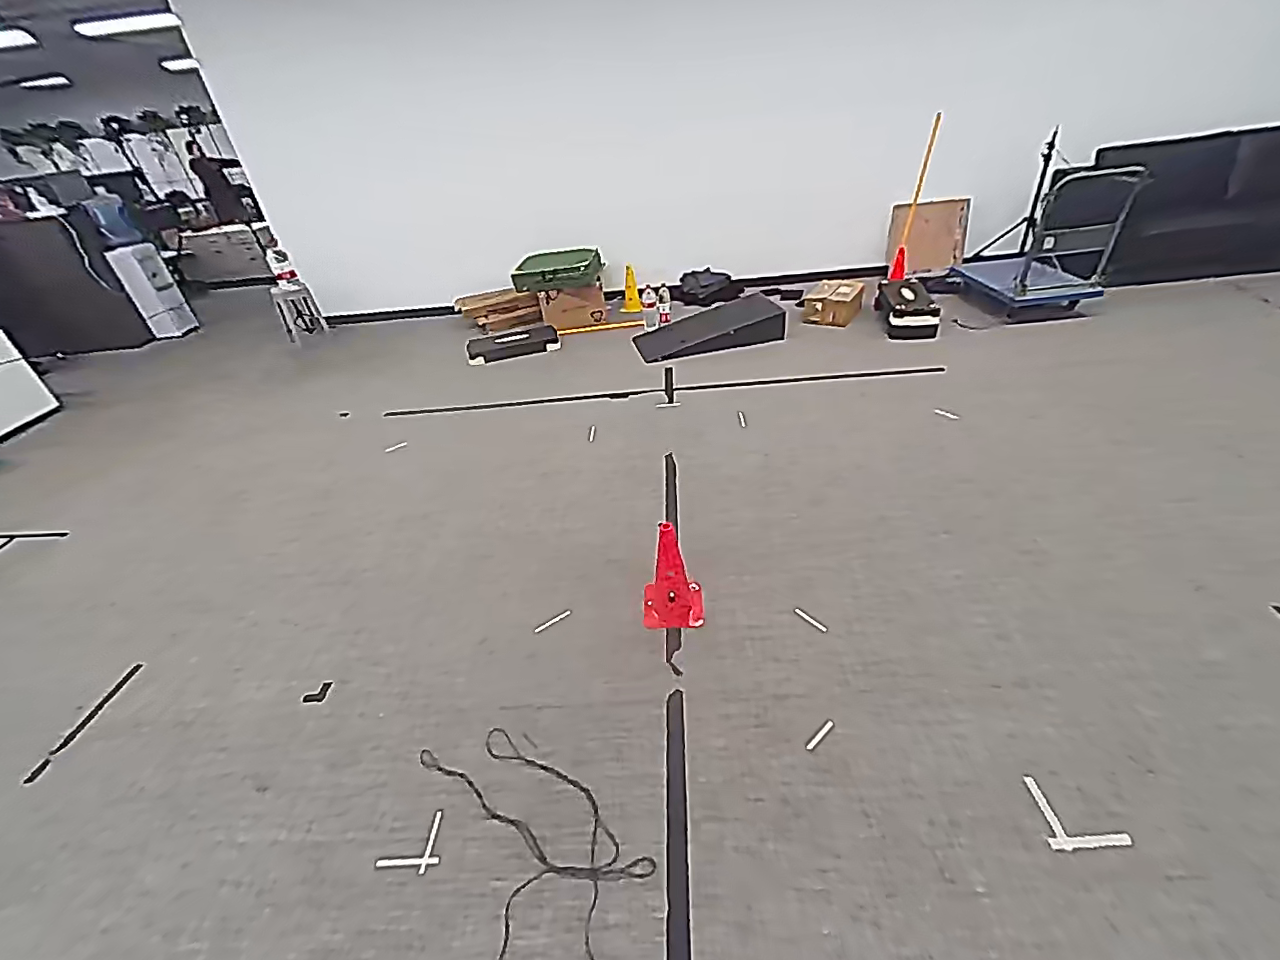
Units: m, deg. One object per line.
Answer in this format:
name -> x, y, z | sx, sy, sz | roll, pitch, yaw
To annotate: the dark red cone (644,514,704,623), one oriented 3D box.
dark red cone -> 0.094, 0.270, 1.746 | 0.201, 0.394, 0.202 | -5, 35, 4
